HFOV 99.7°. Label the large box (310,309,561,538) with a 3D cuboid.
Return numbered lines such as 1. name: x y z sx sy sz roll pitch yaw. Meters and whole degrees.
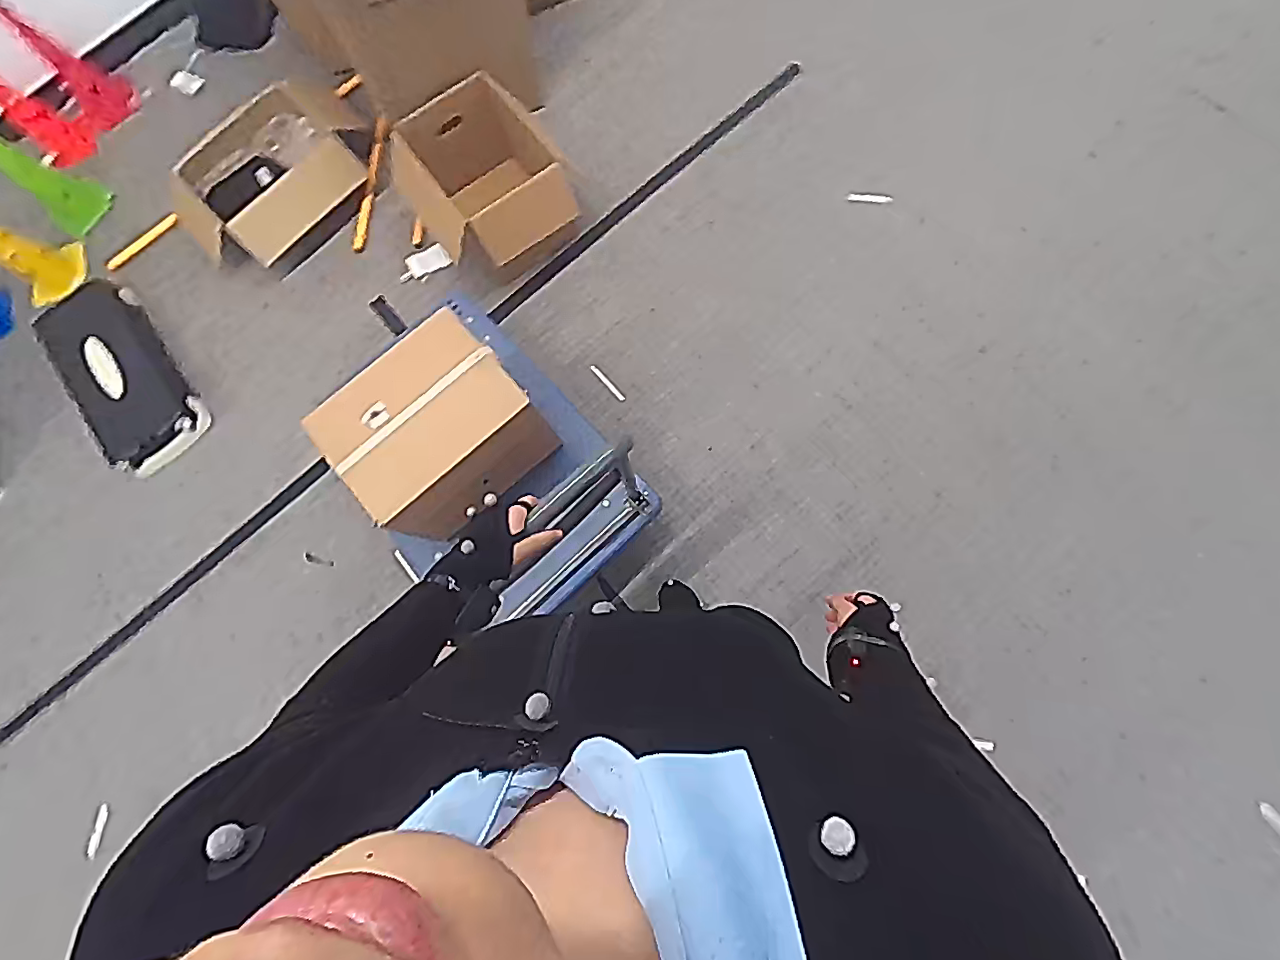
1. large box: -0.462 -0.115 1.303 0.408 0.320 0.320 -42 76 -4
